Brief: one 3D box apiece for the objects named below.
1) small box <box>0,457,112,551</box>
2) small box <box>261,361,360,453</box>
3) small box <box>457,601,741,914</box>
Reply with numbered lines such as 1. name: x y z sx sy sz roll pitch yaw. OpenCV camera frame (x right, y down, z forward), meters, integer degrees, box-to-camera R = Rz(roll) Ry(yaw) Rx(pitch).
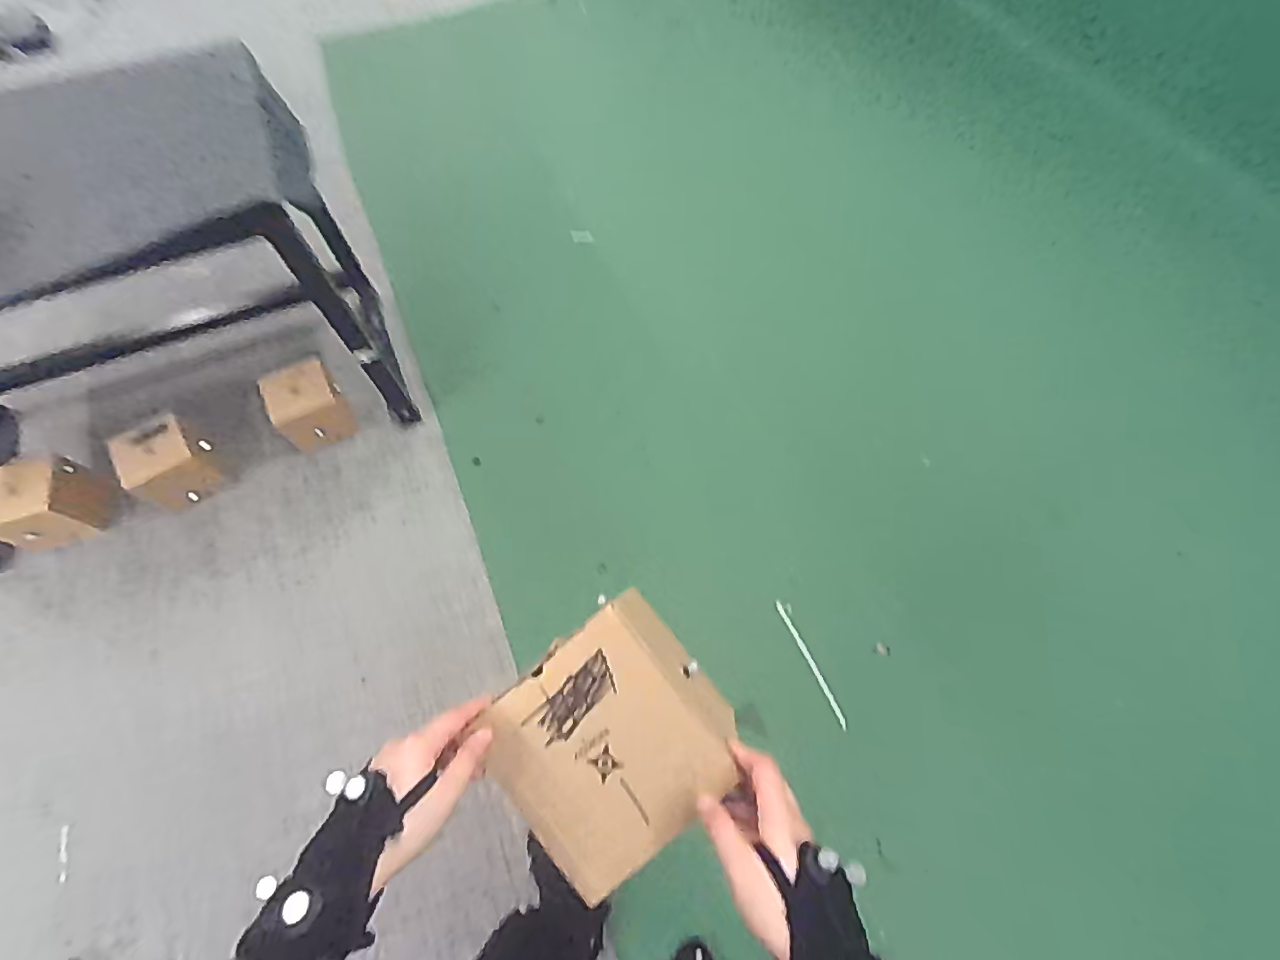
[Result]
1. small box: -1.543 0.072 1.414 0.168 0.176 0.179 -19 64 -9
2. small box: -0.933 -0.199 1.545 0.168 0.176 0.179 -27 66 -13
3. small box: -0.030 0.231 0.510 0.168 0.176 0.179 -40 83 0
